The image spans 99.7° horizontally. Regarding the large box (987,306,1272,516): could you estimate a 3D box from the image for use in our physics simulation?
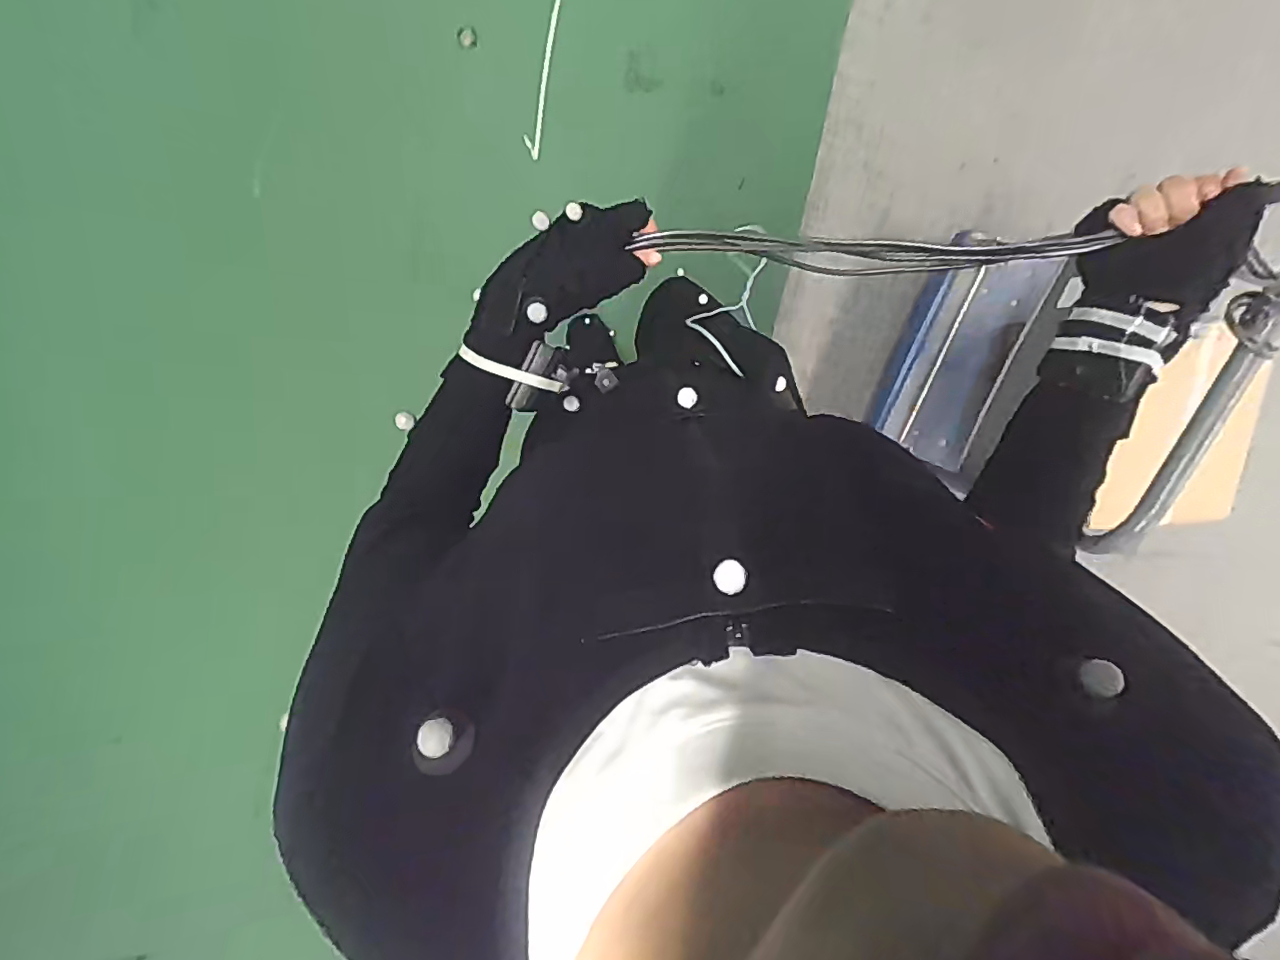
[{"bbox_3d":[1.038,-0.165,1.205,0.320,0.320,0.408,-4,106,-4],"label":"large box"}]
